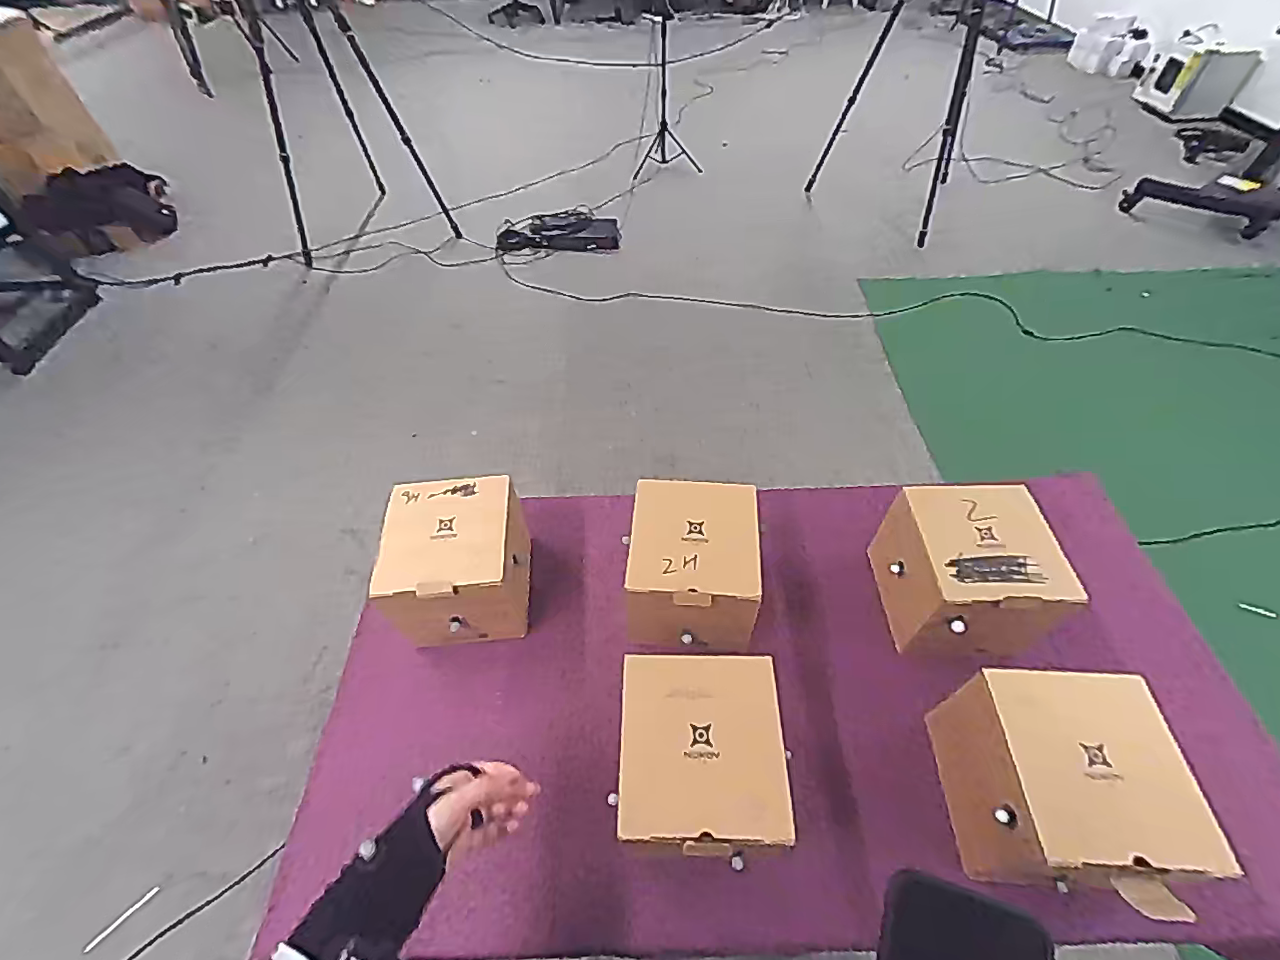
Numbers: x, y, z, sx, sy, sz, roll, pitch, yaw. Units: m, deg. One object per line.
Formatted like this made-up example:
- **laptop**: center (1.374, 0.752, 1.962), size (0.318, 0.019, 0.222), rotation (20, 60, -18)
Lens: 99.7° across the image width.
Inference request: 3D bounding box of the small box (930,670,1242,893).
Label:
- **small box**: center (0.442, 0.324, 0.581), size (0.168, 0.176, 0.179), rotation (1, 51, 4)

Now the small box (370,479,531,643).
- **small box**: center (-0.255, 0.122, 0.775), size (0.168, 0.176, 0.179), rotation (-5, 52, -2)

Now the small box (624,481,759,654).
- **small box**: center (0.072, 0.124, 0.760), size (0.168, 0.176, 0.179), rotation (3, 52, 5)

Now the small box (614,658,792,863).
- **small box**: center (0.064, 0.316, 0.605), size (0.168, 0.176, 0.179), rotation (0, 50, 2)
